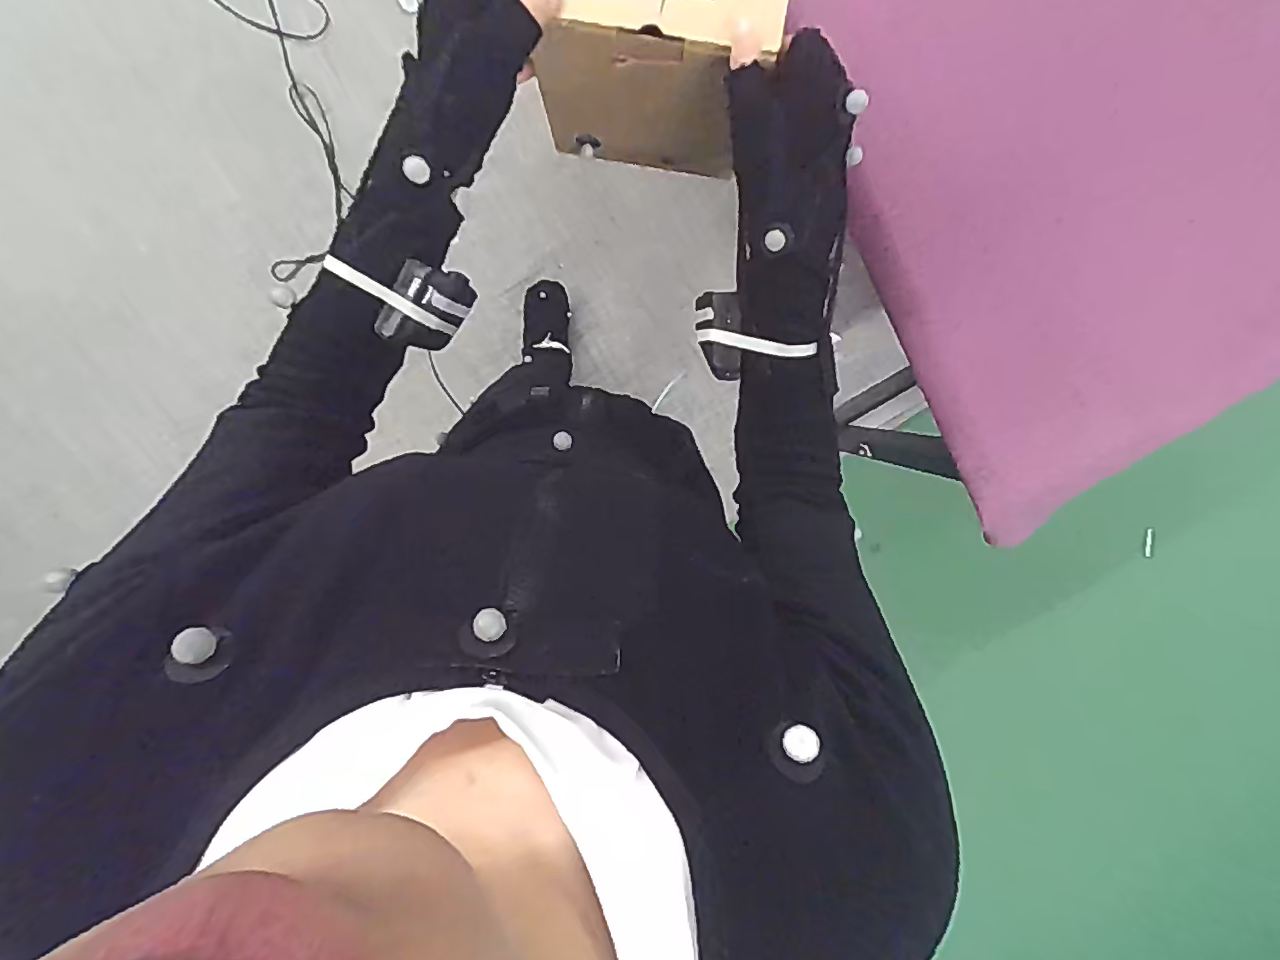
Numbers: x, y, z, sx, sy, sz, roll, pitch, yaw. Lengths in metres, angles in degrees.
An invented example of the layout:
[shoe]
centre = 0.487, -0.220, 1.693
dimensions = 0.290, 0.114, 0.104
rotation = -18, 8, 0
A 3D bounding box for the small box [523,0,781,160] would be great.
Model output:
[small box]
centre = 0.019, -0.379, 0.411
dimensions = 0.168, 0.176, 0.179
rotation = 9, 94, -2
